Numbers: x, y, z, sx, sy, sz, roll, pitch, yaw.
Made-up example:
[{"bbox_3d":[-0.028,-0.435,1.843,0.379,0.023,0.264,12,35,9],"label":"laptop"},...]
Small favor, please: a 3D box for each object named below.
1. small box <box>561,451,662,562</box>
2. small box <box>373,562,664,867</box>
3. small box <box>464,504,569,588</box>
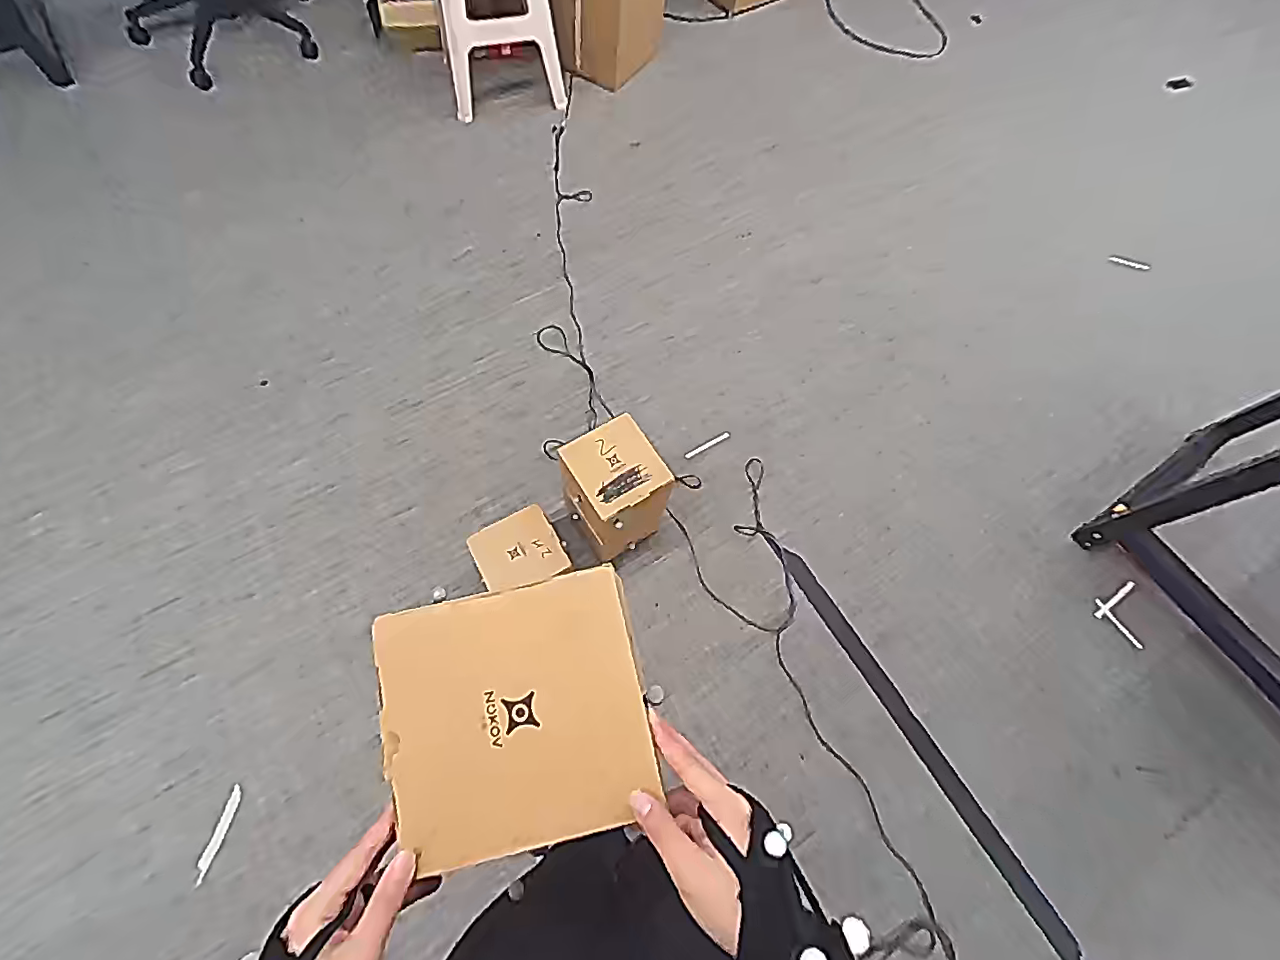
[{"bbox_3d":[-0.070,0.069,1.271,0.168,0.176,0.179,-30,74,-15],"label":"small box"},{"bbox_3d":[-0.086,0.169,0.443,0.179,0.176,0.168,-13,77,-2],"label":"small box"},{"bbox_3d":[-0.264,0.186,1.209,0.179,0.176,0.168,-27,72,-13],"label":"small box"}]
